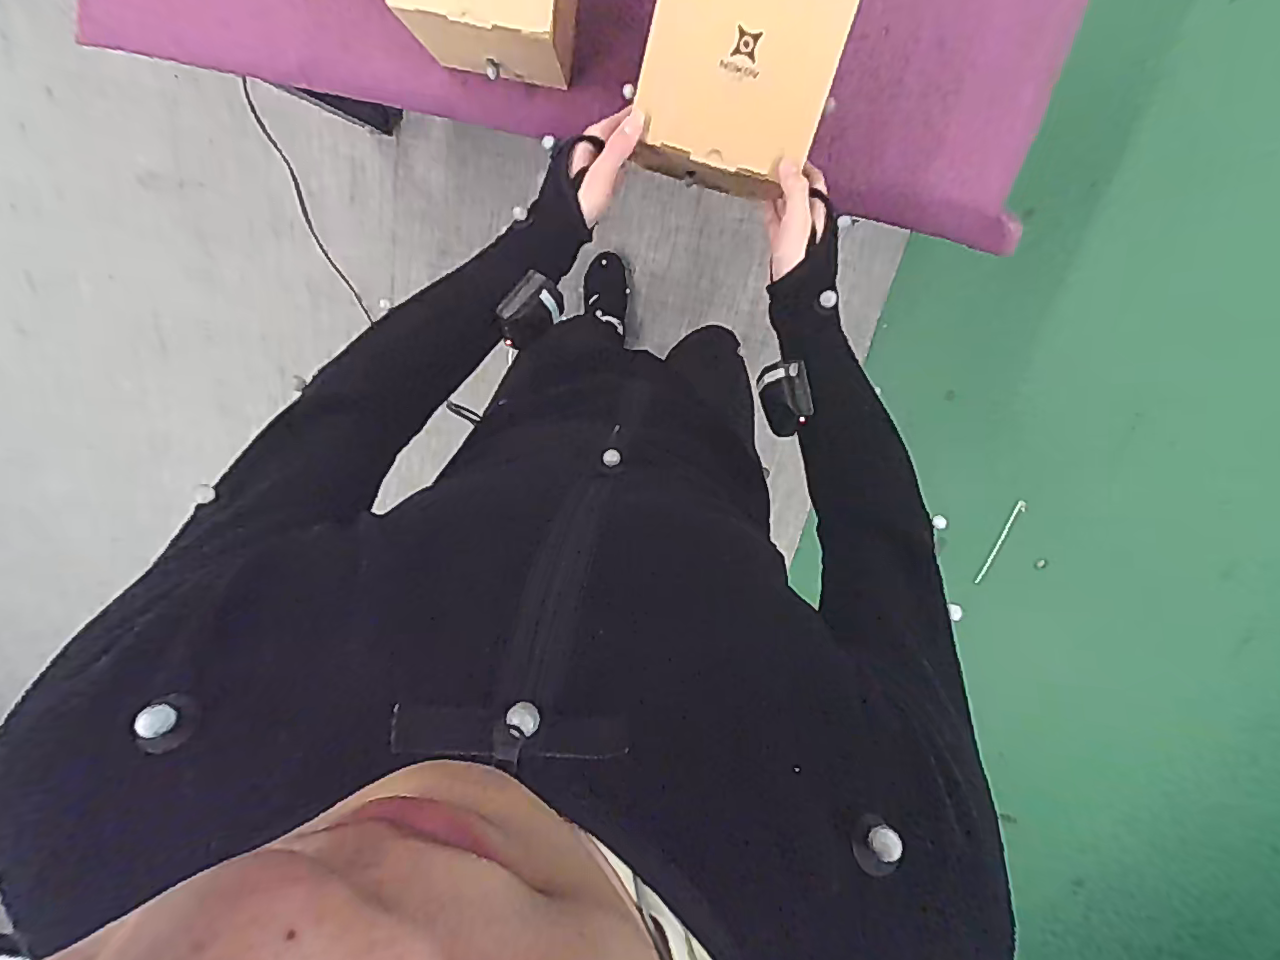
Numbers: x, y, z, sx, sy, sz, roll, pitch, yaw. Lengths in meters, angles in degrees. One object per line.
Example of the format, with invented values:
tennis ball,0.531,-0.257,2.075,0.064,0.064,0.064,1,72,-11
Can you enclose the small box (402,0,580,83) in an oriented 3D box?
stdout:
small box,-0.153,-0.566,0.577,0.168,0.176,0.179,9,111,-4

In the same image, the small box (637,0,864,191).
small box,0.095,-0.408,0.536,0.168,0.176,0.179,14,114,-6
